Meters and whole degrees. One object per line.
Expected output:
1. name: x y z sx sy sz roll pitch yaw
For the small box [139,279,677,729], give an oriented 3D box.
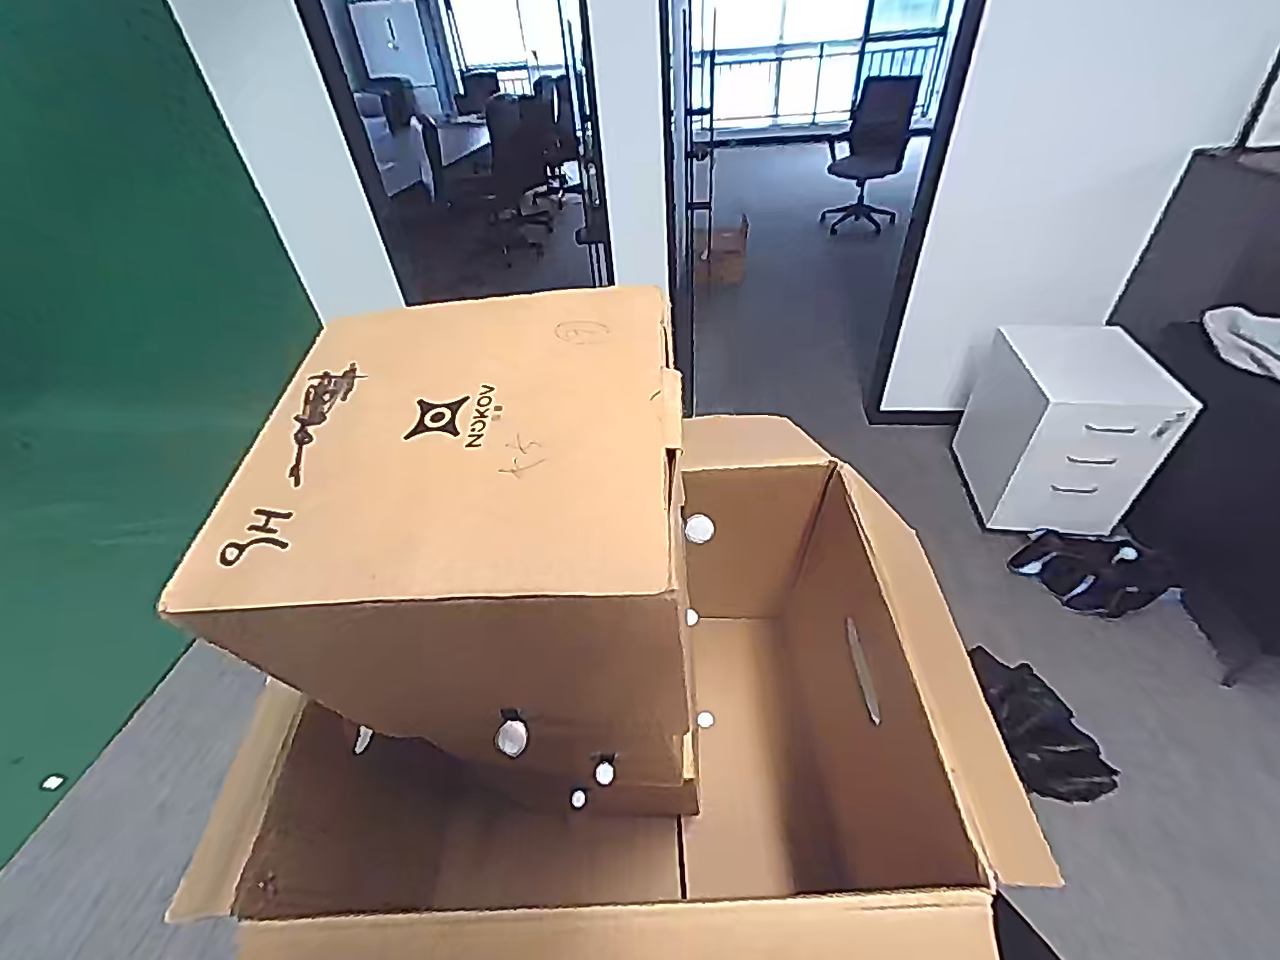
1. small box: -0.069 0.020 0.280 0.179 0.176 0.168 -2 51 4
